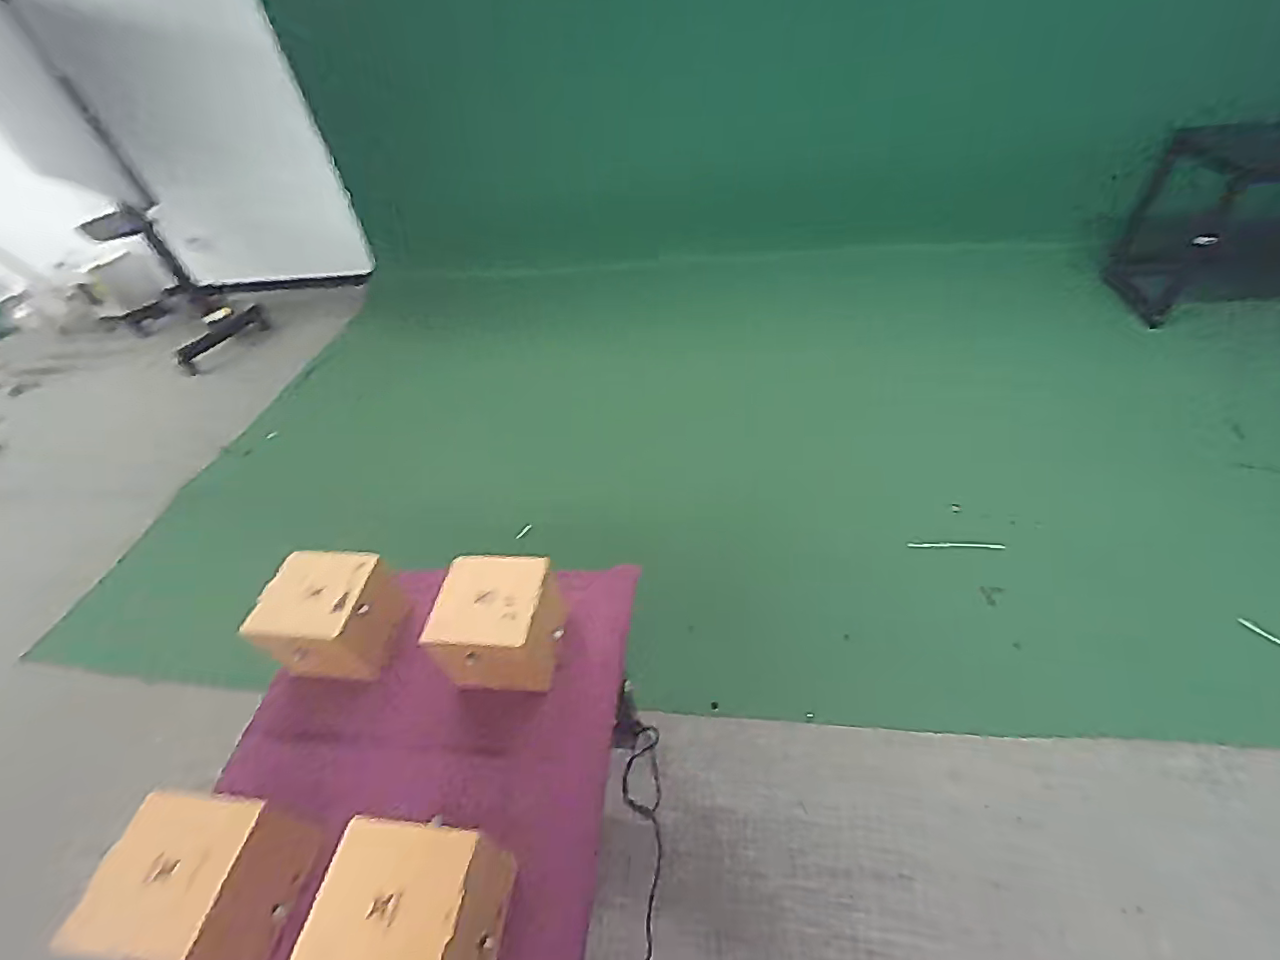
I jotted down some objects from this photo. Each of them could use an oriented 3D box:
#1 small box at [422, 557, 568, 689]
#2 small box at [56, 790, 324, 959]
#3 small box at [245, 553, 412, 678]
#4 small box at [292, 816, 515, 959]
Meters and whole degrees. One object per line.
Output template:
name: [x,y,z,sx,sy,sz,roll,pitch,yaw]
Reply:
small box: [-0.242,0.252,0.952,0.179,0.176,0.168,0,47,10]
small box: [-0.576,0.537,0.723,0.179,0.176,0.168,2,46,8]
small box: [-0.560,0.251,0.999,0.179,0.176,0.168,1,47,7]
small box: [-0.279,0.543,0.673,0.179,0.176,0.168,0,45,10]
